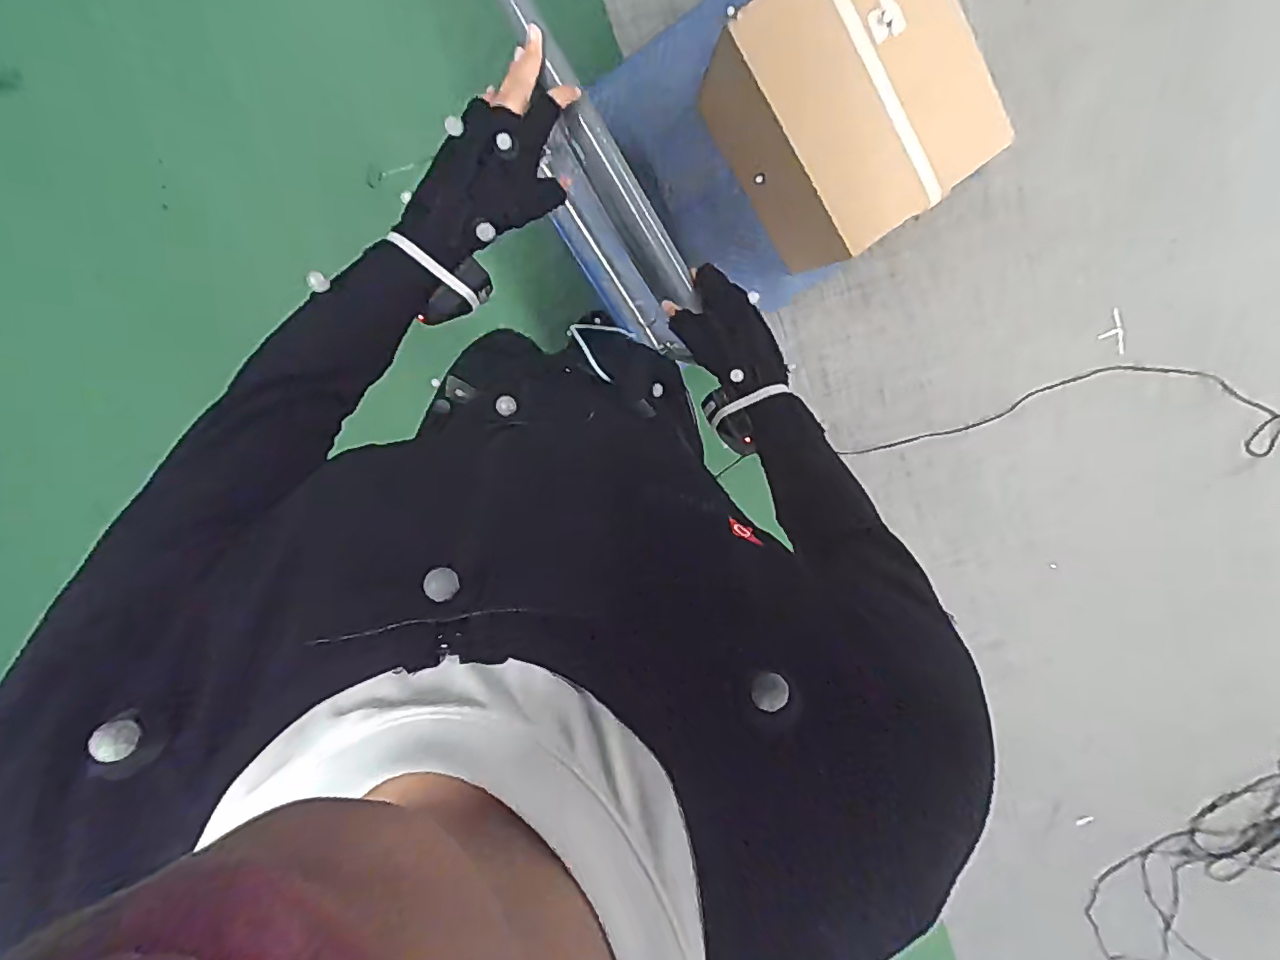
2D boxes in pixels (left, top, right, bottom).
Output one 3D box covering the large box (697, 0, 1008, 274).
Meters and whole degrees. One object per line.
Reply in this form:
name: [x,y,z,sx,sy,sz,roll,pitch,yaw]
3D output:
large box: [0.353,-0.650,0.985,0.320,0.320,0.408,-34,104,6]
